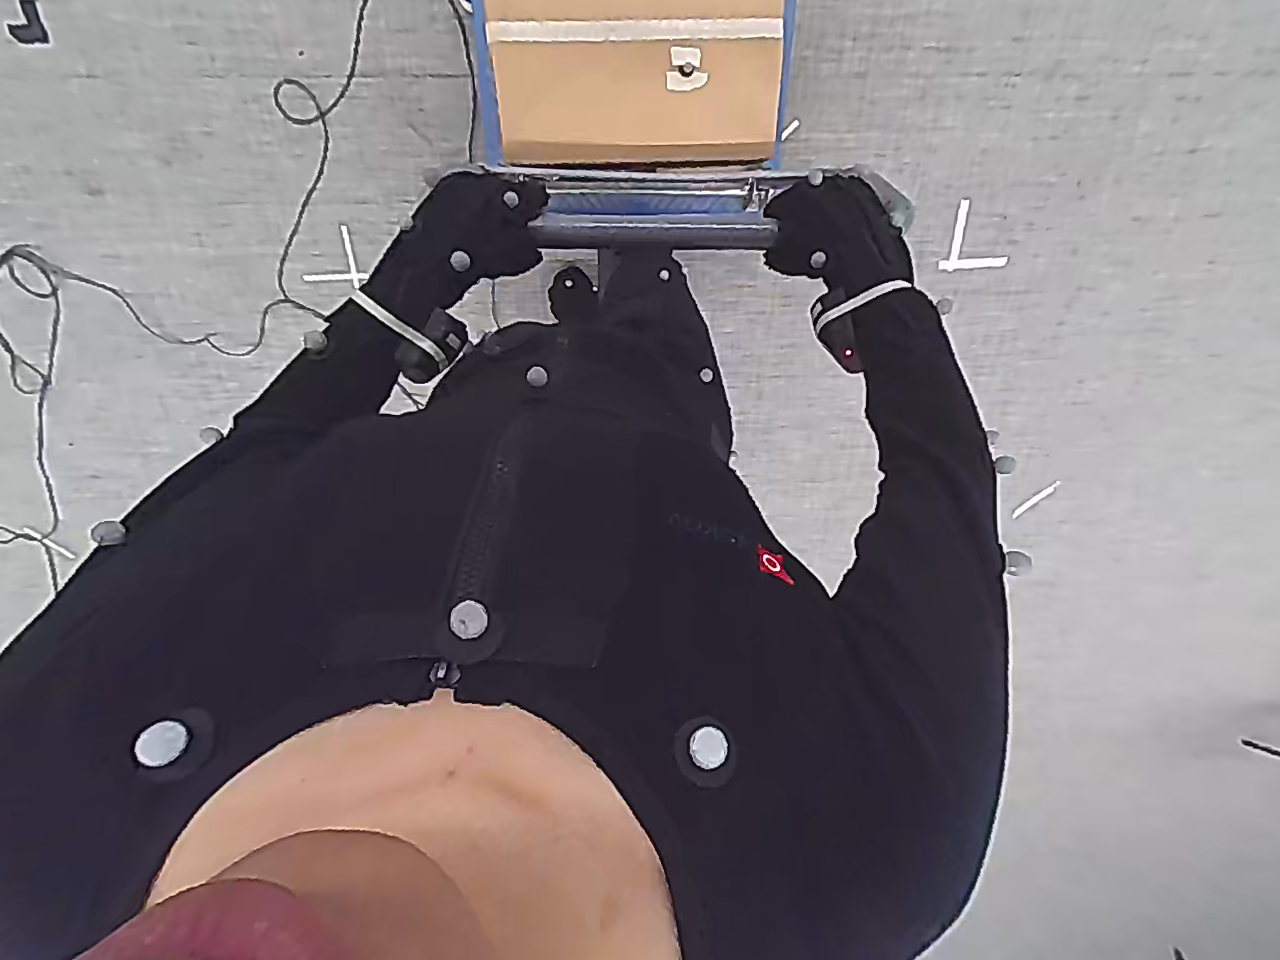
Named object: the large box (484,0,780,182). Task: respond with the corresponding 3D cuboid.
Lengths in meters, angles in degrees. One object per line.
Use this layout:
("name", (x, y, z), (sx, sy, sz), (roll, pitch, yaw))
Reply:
("large box", (-0.019, -0.672, 0.870), (0.408, 0.320, 0.320), (-3, 117, -3))
